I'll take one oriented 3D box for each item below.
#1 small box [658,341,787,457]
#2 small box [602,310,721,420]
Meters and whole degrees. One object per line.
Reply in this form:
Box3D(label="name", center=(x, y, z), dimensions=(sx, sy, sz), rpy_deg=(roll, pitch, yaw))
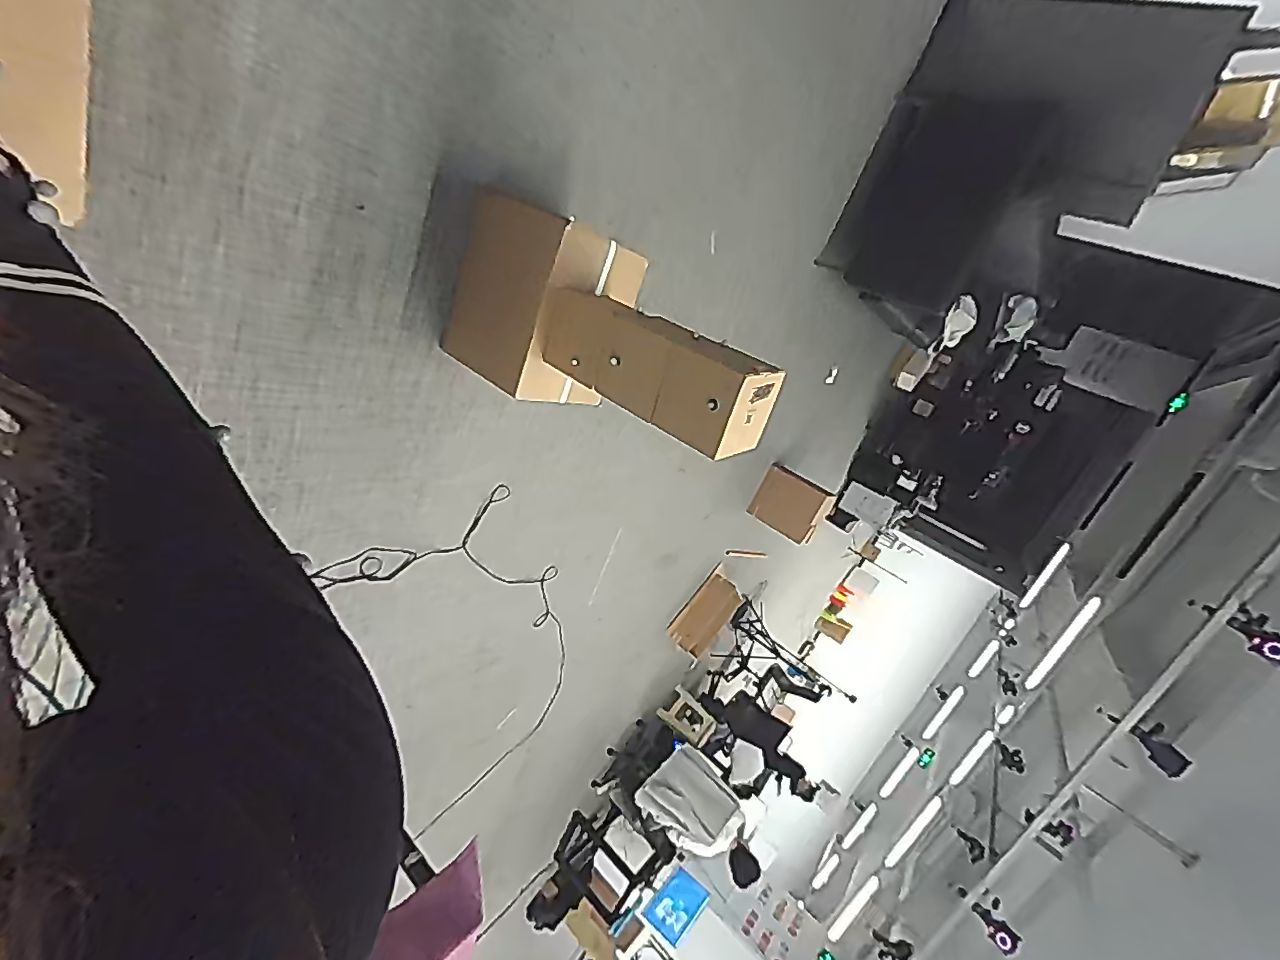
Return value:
Box3D(label="small box", center=(0.160, -0.171, 1.089), dimensions=(0.168, 0.176, 0.179), rpy_deg=(-17, 133, -47))
Box3D(label="small box", center=(0.040, -0.250, 1.171), dimensions=(0.168, 0.176, 0.179), rpy_deg=(-17, 133, -48))
